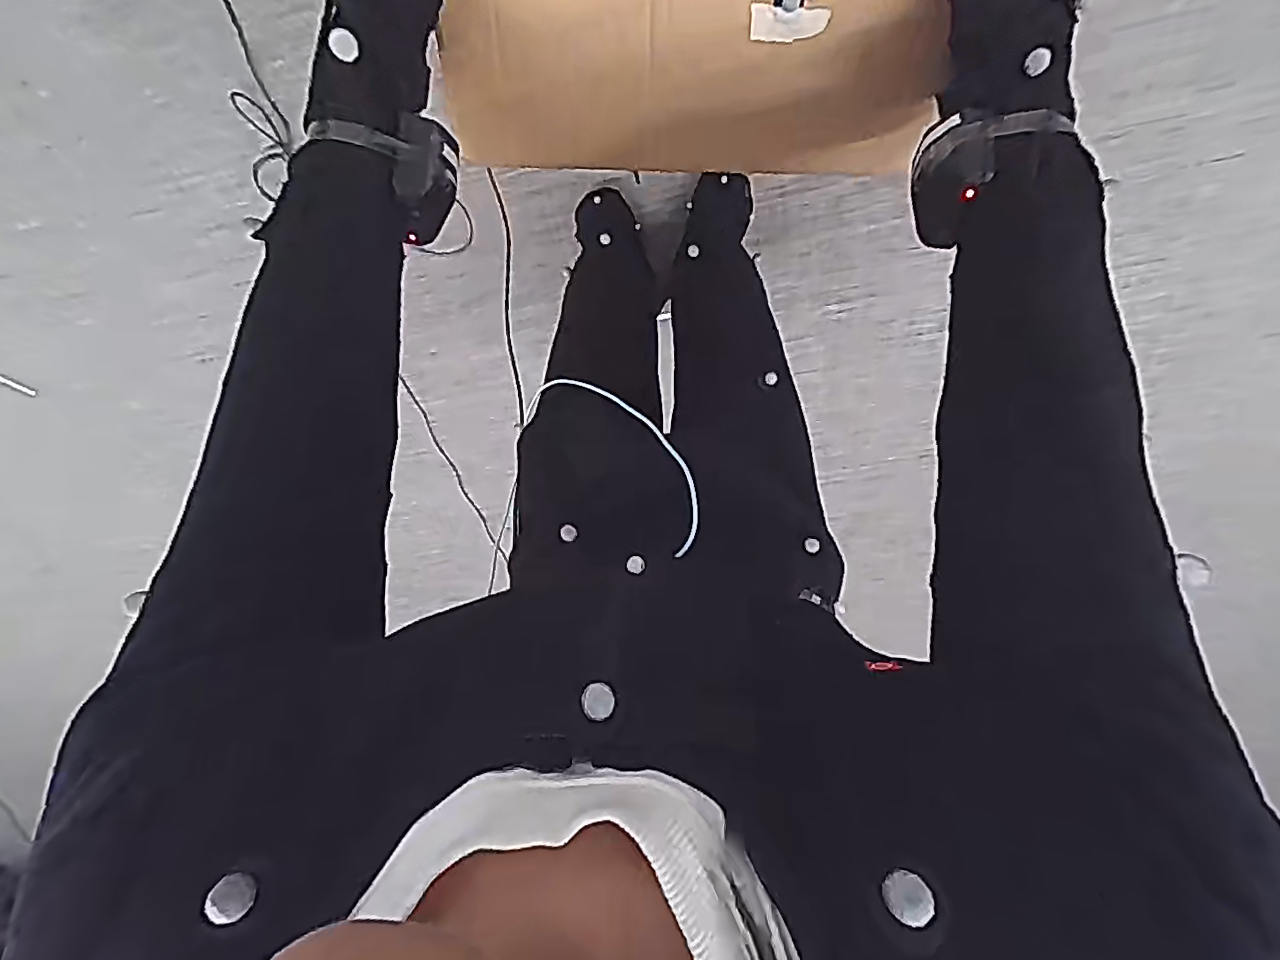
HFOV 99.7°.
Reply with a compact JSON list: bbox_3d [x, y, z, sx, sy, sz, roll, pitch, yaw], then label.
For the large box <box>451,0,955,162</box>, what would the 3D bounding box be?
[{"bbox_3d":[0.049,-0.502,0.511,0.408,0.320,0.320,1,129,0],"label":"large box"}]
